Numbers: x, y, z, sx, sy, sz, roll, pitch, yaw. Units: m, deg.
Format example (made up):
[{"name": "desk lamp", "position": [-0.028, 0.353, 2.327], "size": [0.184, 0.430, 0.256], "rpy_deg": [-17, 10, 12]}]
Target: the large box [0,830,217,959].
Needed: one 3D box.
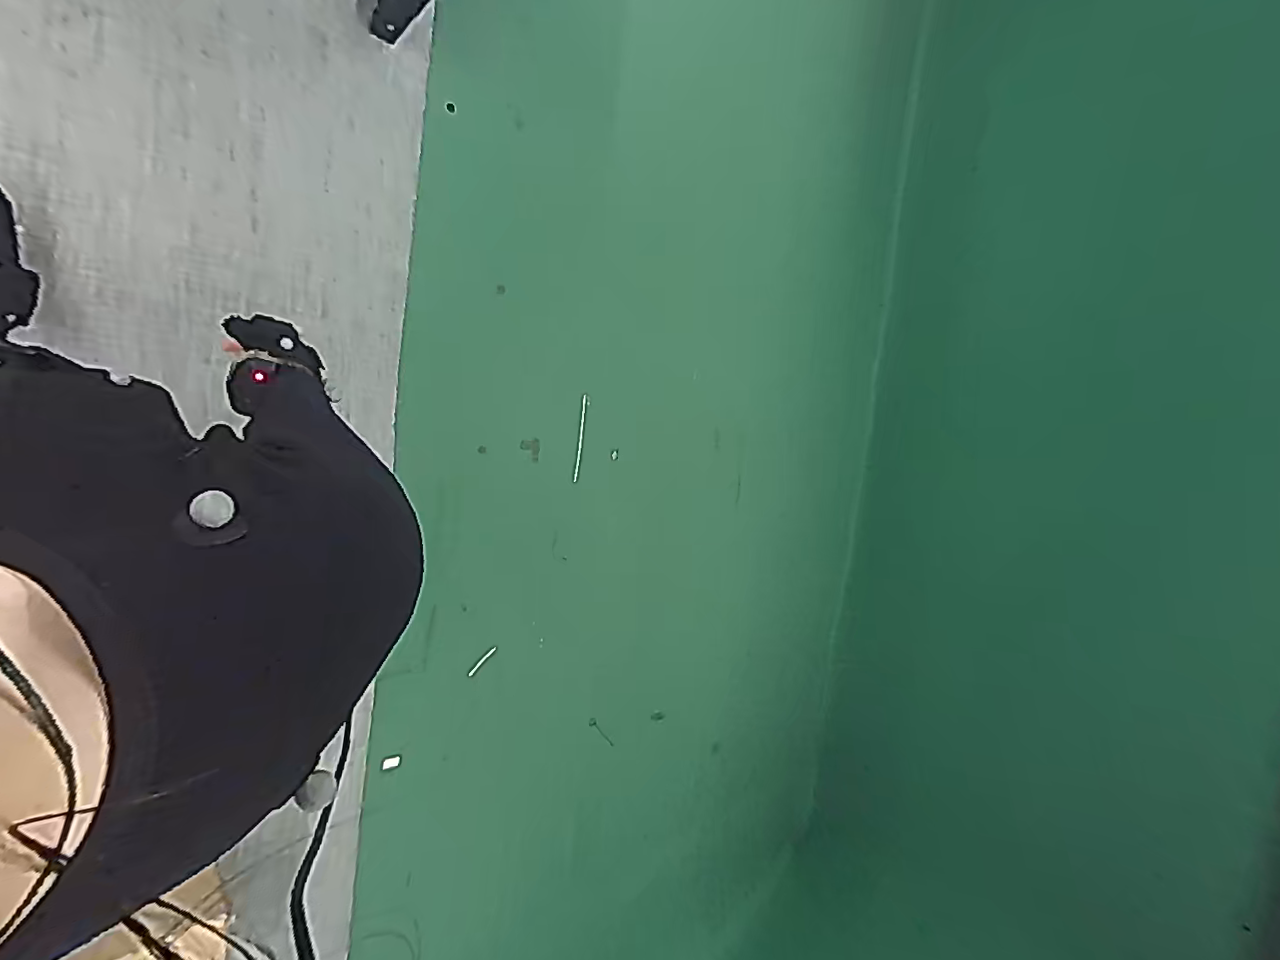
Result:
[{"name": "large box", "position": [-1.107, 0.982, 1.042], "size": [0.408, 0.320, 0.320], "rpy_deg": [4, 95, -48]}]
